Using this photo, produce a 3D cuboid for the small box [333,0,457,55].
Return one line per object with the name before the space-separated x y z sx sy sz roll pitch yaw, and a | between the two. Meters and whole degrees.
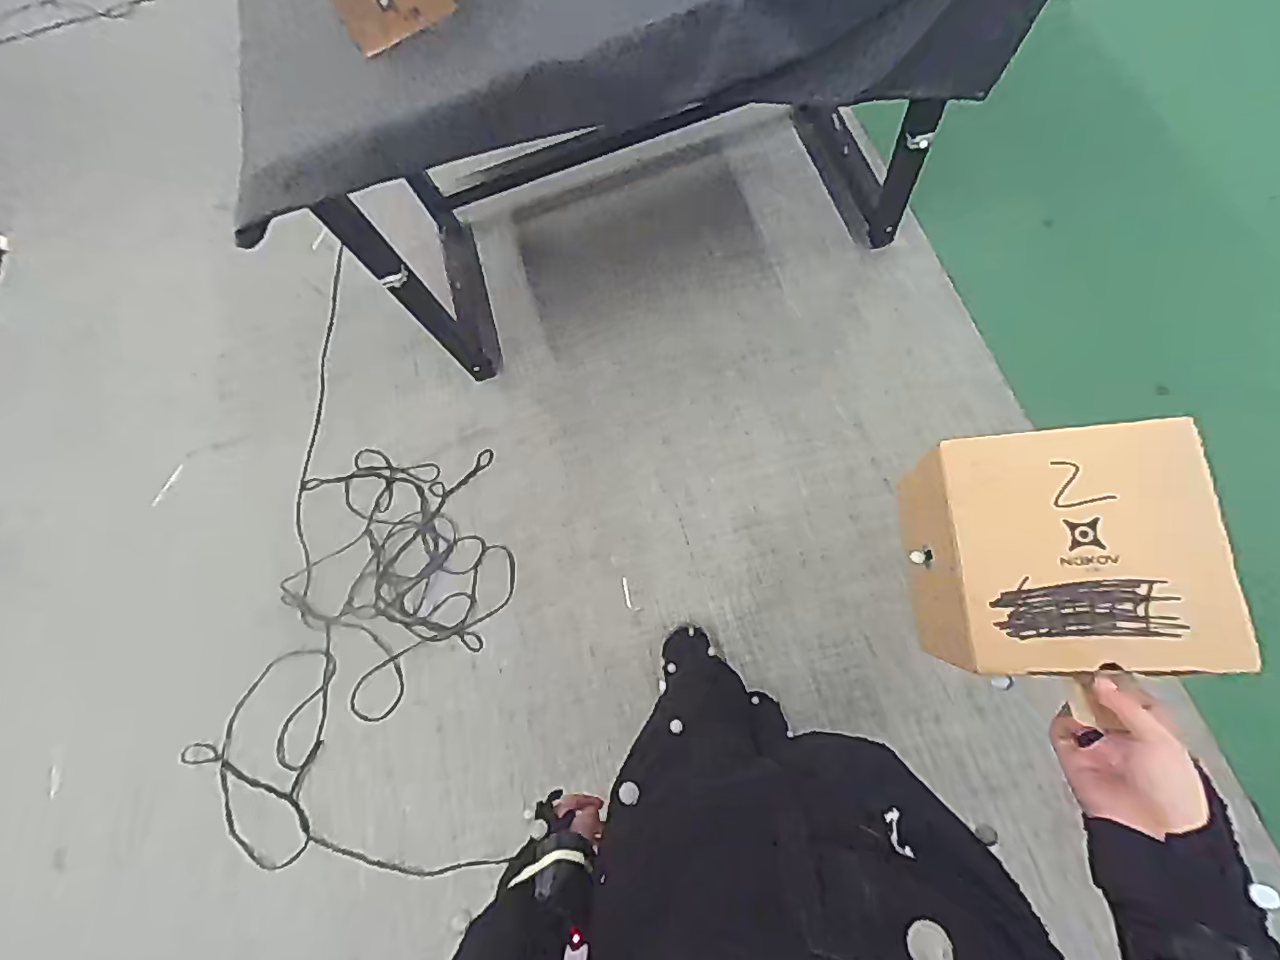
small box | -0.401 -0.787 0.797 0.168 0.176 0.179 -28 71 -1
